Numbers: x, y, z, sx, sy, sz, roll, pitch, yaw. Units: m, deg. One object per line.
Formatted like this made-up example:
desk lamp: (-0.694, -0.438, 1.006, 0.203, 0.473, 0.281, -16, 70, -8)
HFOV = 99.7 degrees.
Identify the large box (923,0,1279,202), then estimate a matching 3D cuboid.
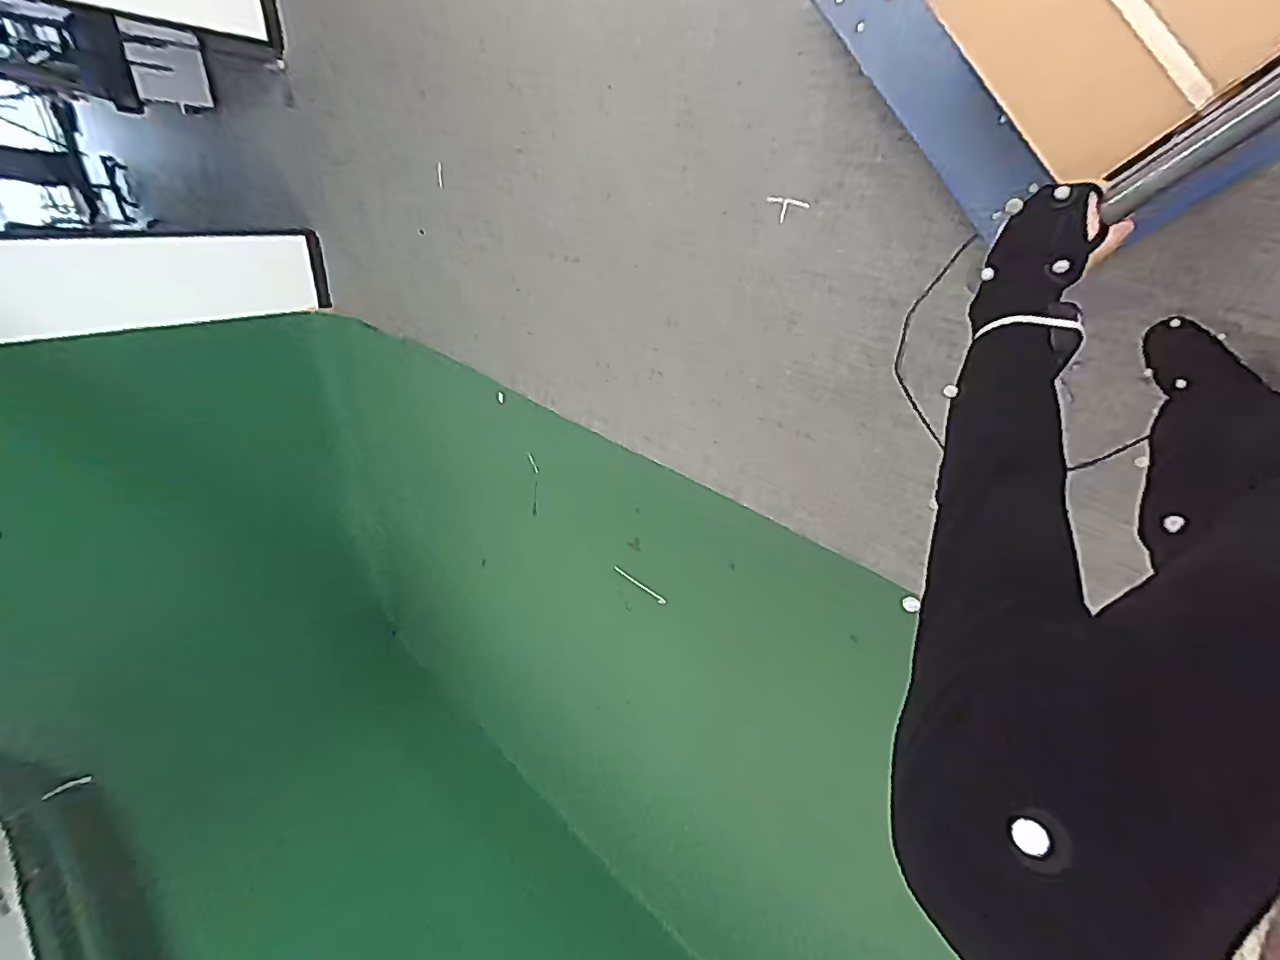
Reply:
large box: (0.731, -0.702, 0.828, 0.320, 0.320, 0.408, -37, 81, 45)
